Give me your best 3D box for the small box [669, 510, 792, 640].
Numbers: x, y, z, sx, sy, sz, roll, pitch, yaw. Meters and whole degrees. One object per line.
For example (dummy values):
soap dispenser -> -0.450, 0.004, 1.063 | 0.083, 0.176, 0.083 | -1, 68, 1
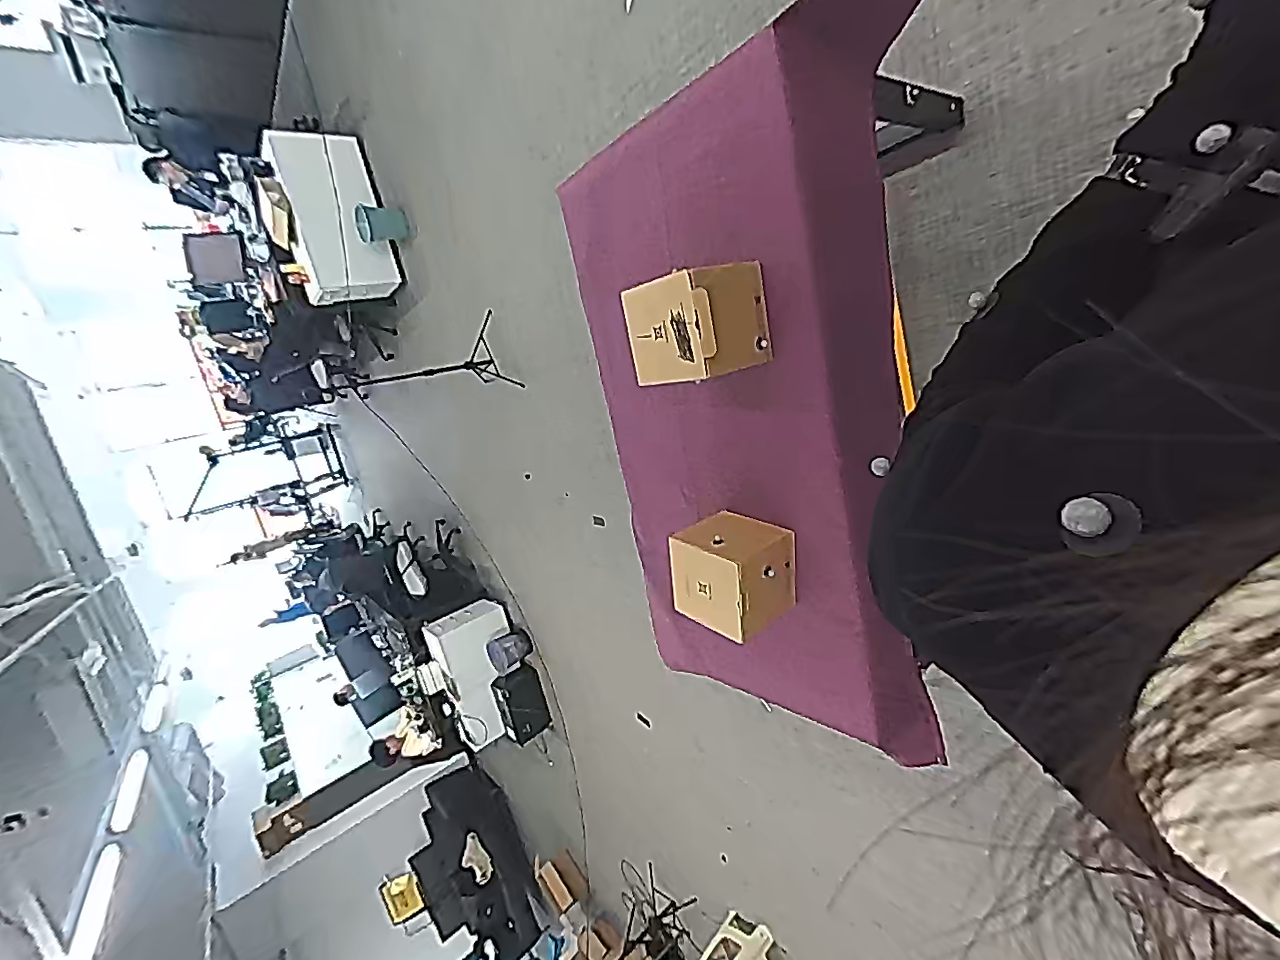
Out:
small box -> 0.180, 0.172, 1.051 | 0.179, 0.176, 0.168 | 17, 120, 47

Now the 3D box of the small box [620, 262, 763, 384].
small box -> 0.095, -0.268, 0.929 | 0.179, 0.176, 0.168 | 7, 113, 52
